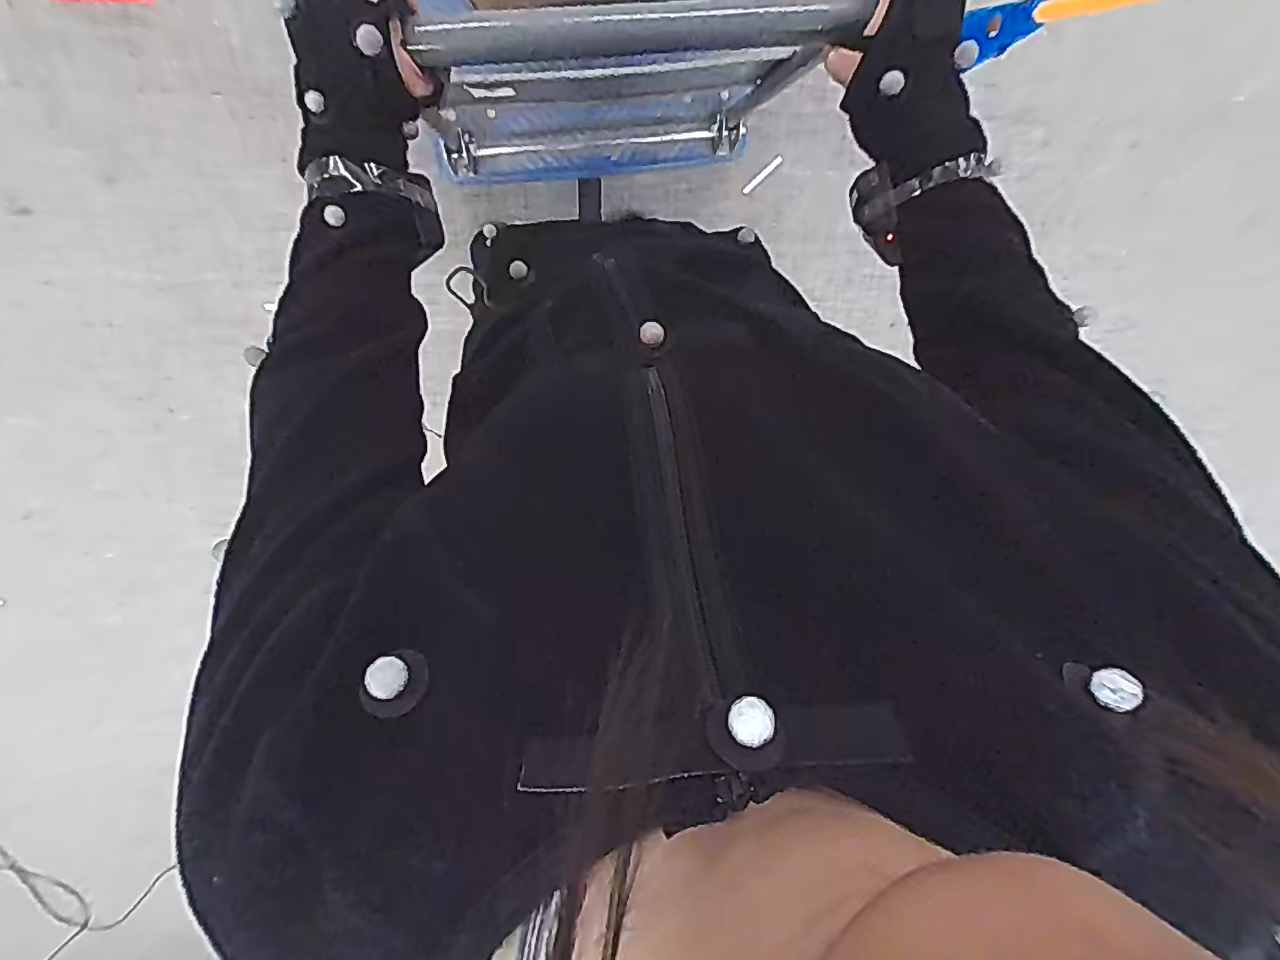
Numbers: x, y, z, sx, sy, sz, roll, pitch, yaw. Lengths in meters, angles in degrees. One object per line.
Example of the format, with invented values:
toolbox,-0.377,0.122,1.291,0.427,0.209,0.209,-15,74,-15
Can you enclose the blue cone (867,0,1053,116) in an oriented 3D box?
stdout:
blue cone,0.600,-0.818,1.001,0.193,0.380,0.192,-6,116,-6
